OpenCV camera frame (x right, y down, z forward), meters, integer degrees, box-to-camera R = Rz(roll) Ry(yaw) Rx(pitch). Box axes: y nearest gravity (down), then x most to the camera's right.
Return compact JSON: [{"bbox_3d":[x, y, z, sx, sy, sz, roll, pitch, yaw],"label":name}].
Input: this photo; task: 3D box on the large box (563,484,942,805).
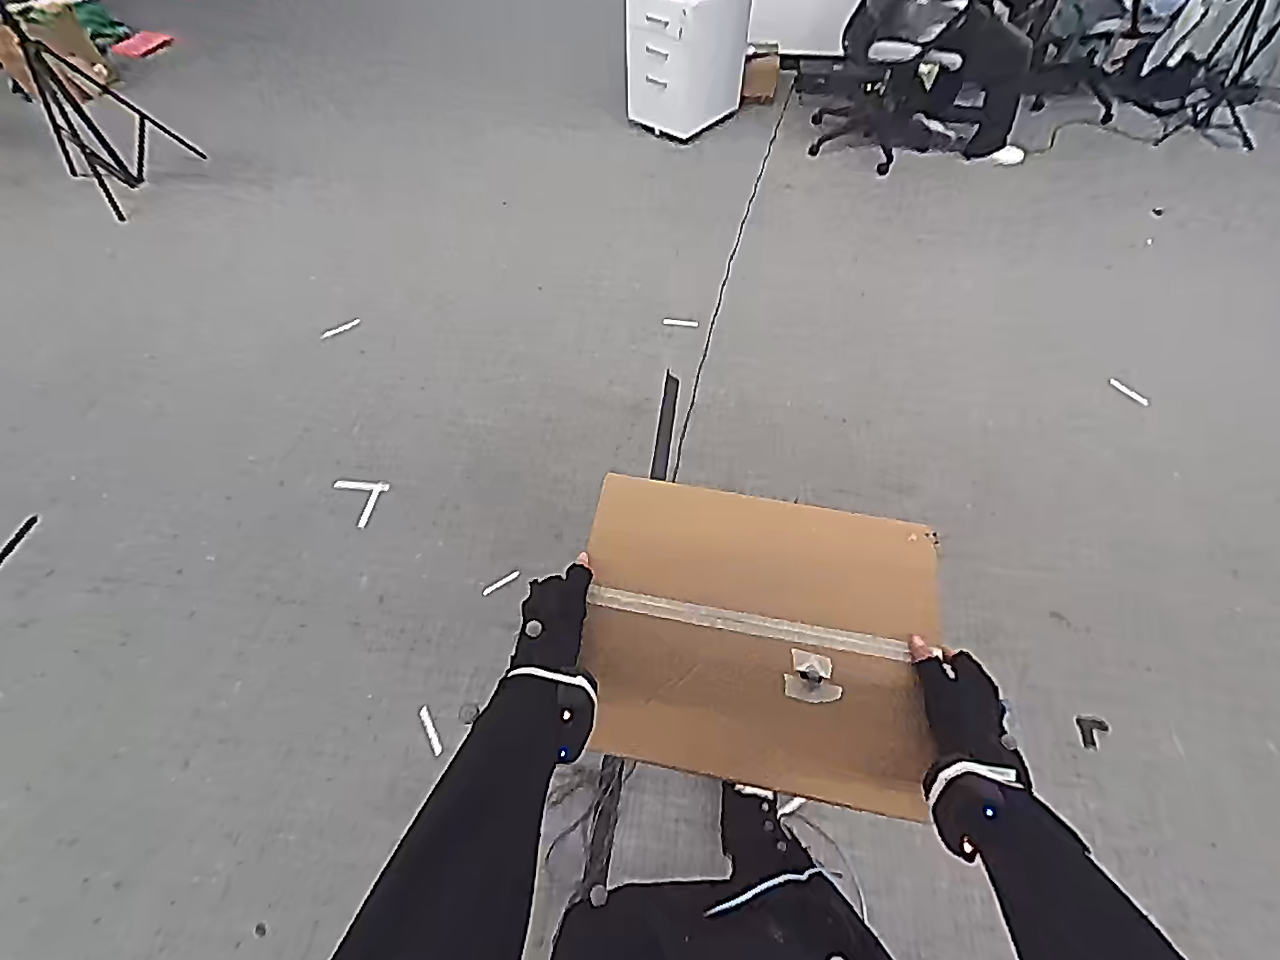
[{"bbox_3d":[0.135,0.233,0.759,0.408,0.320,0.320,9,65,5],"label":"large box"}]
